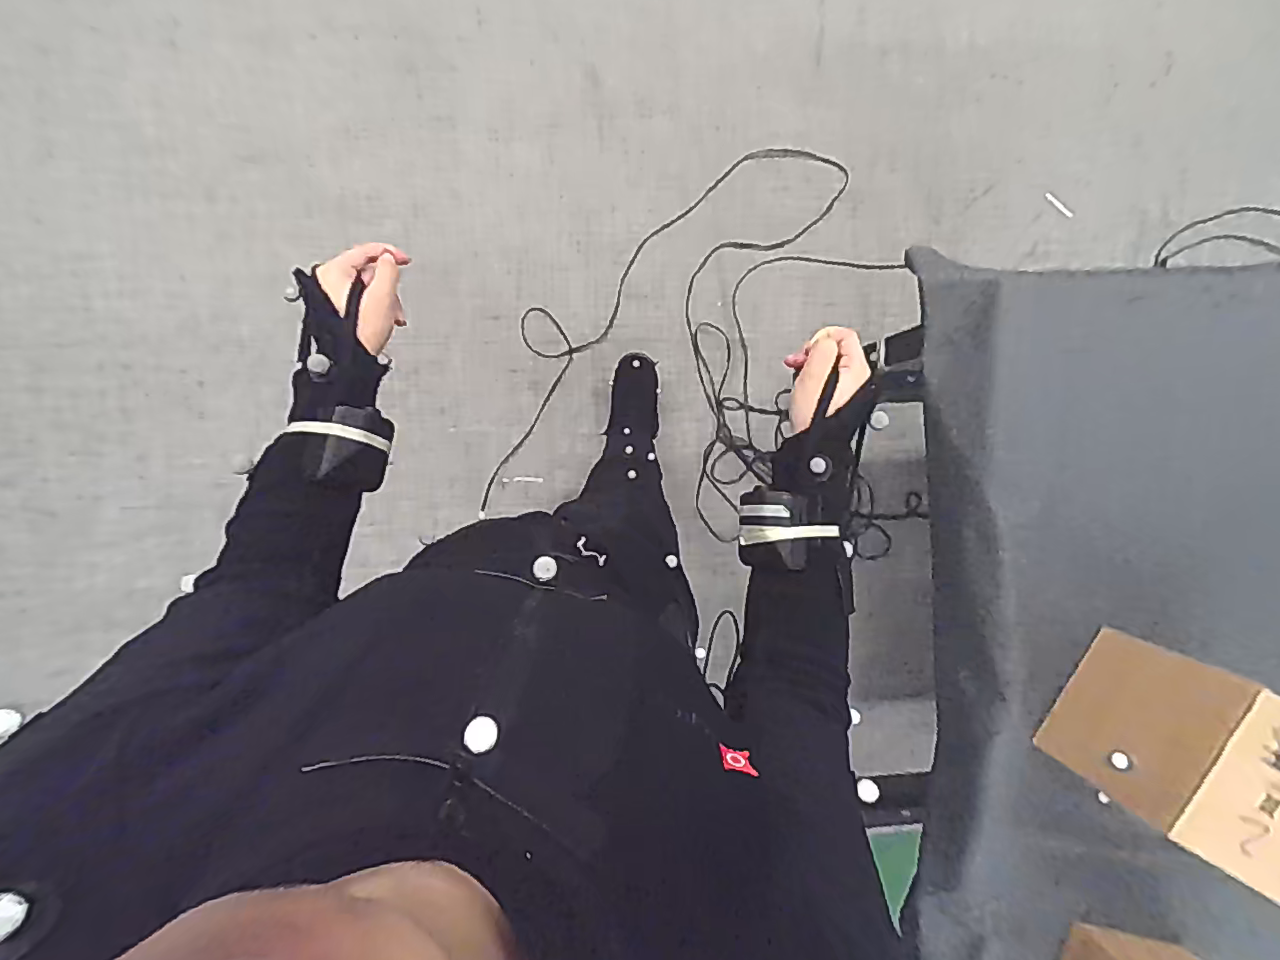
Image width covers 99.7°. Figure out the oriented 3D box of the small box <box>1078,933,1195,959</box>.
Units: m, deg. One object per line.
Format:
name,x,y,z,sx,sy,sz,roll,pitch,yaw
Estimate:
small box,0.630,0.682,0.627,0.179,0.176,0.168,17,93,-6
